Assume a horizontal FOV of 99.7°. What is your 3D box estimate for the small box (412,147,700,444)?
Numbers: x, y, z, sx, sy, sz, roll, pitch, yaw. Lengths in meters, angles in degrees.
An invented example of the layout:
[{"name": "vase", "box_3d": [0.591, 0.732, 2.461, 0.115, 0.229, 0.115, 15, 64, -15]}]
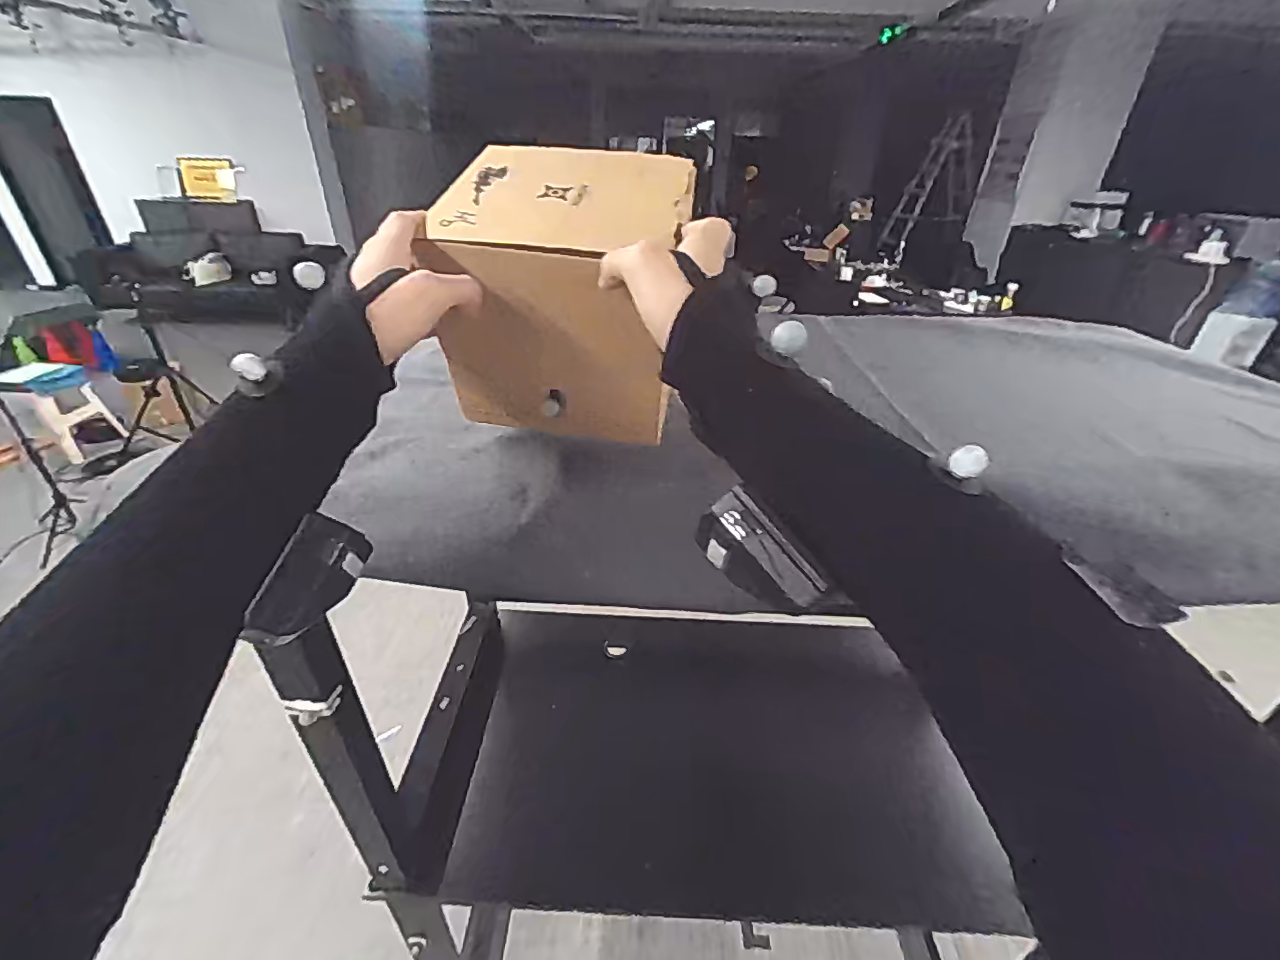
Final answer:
[{"name": "small box", "box_3d": [-0.053, -0.149, 0.455, 0.179, 0.176, 0.168, 9, 50, 4]}]
